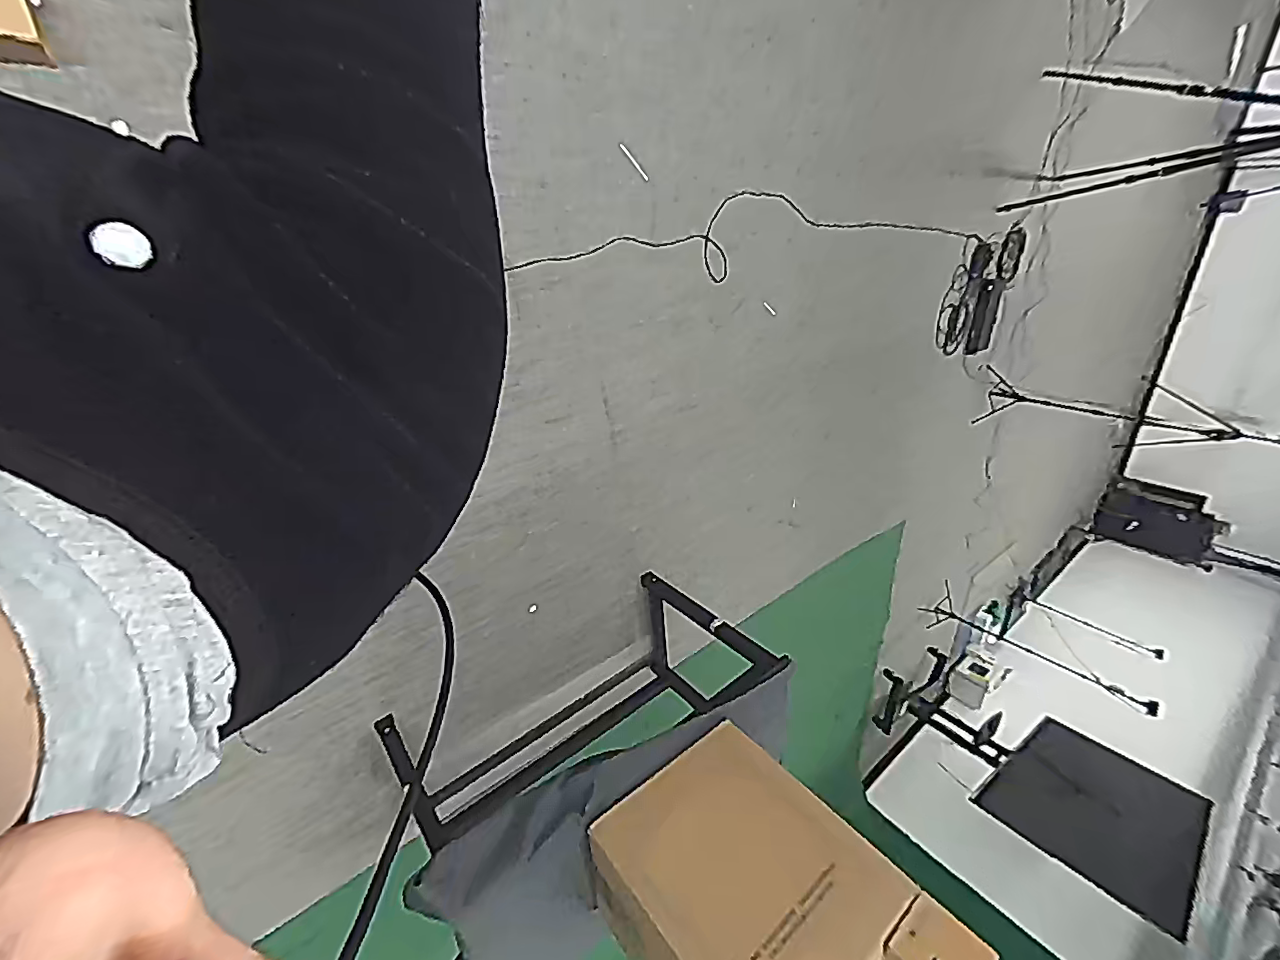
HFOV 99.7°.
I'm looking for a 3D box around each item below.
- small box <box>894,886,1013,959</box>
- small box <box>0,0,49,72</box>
[{"bbox_3d":[0.686,1.057,1.198,0.168,0.176,0.179,-22,121,-34],"label":"small box"},{"bbox_3d":[-1.061,-0.753,0.825,0.168,0.176,0.179,-19,119,-34],"label":"small box"}]
